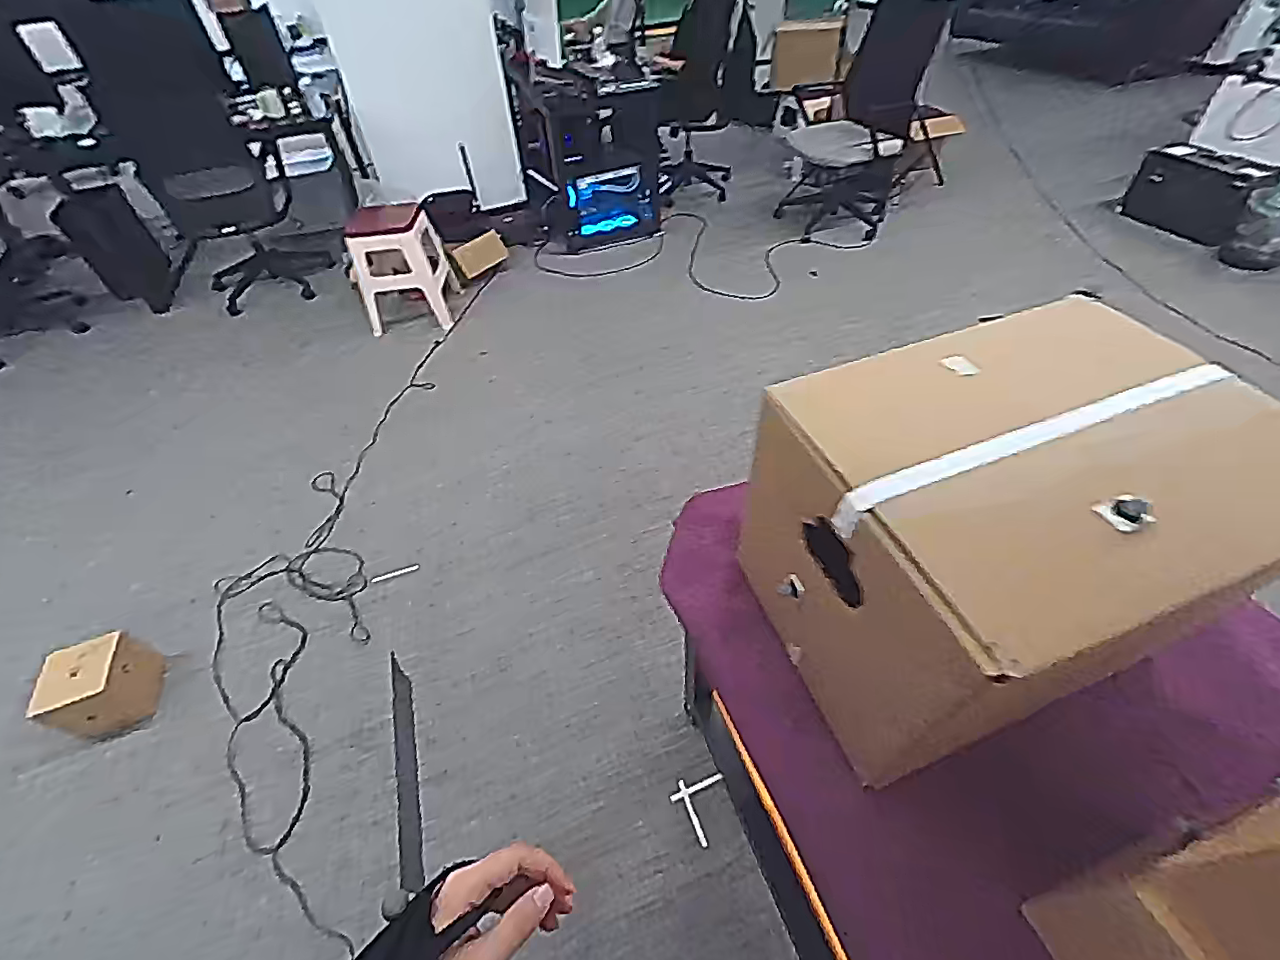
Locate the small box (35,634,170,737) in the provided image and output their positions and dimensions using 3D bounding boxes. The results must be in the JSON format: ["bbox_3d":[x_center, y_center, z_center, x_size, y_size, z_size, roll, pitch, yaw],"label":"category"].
[{"bbox_3d":[-1.371,0.538,1.397,0.168,0.176,0.179,-19,48,-12],"label":"small box"}]
